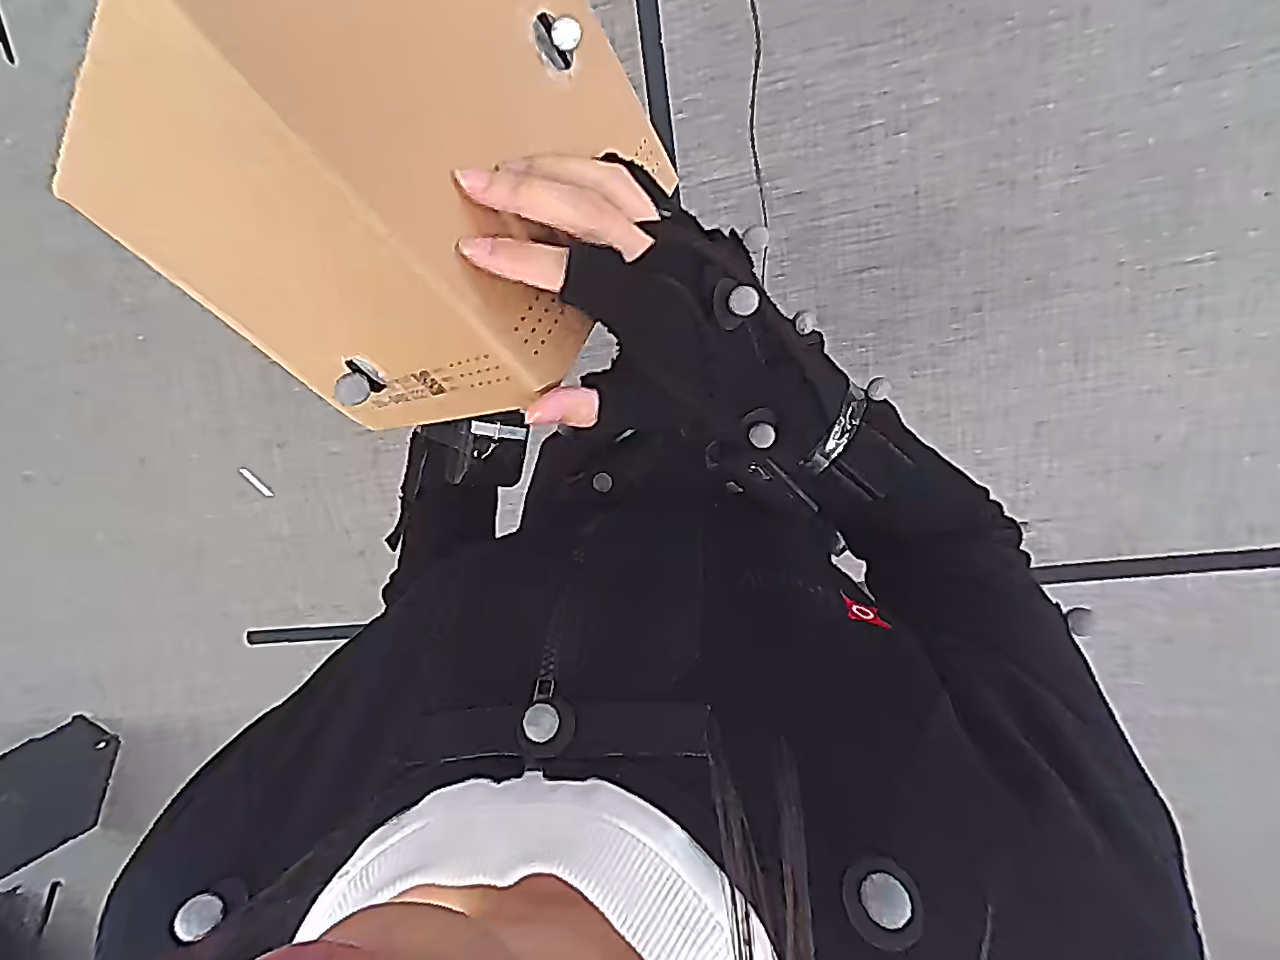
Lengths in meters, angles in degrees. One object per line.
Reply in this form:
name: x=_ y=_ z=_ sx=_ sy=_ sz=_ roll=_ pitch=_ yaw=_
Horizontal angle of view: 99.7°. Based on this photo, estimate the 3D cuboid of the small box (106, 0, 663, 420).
small box: x=-0.110 y=-0.155 z=0.288 sx=0.168 sy=0.179 sz=0.176 roll=-2 pitch=143 yaw=39
